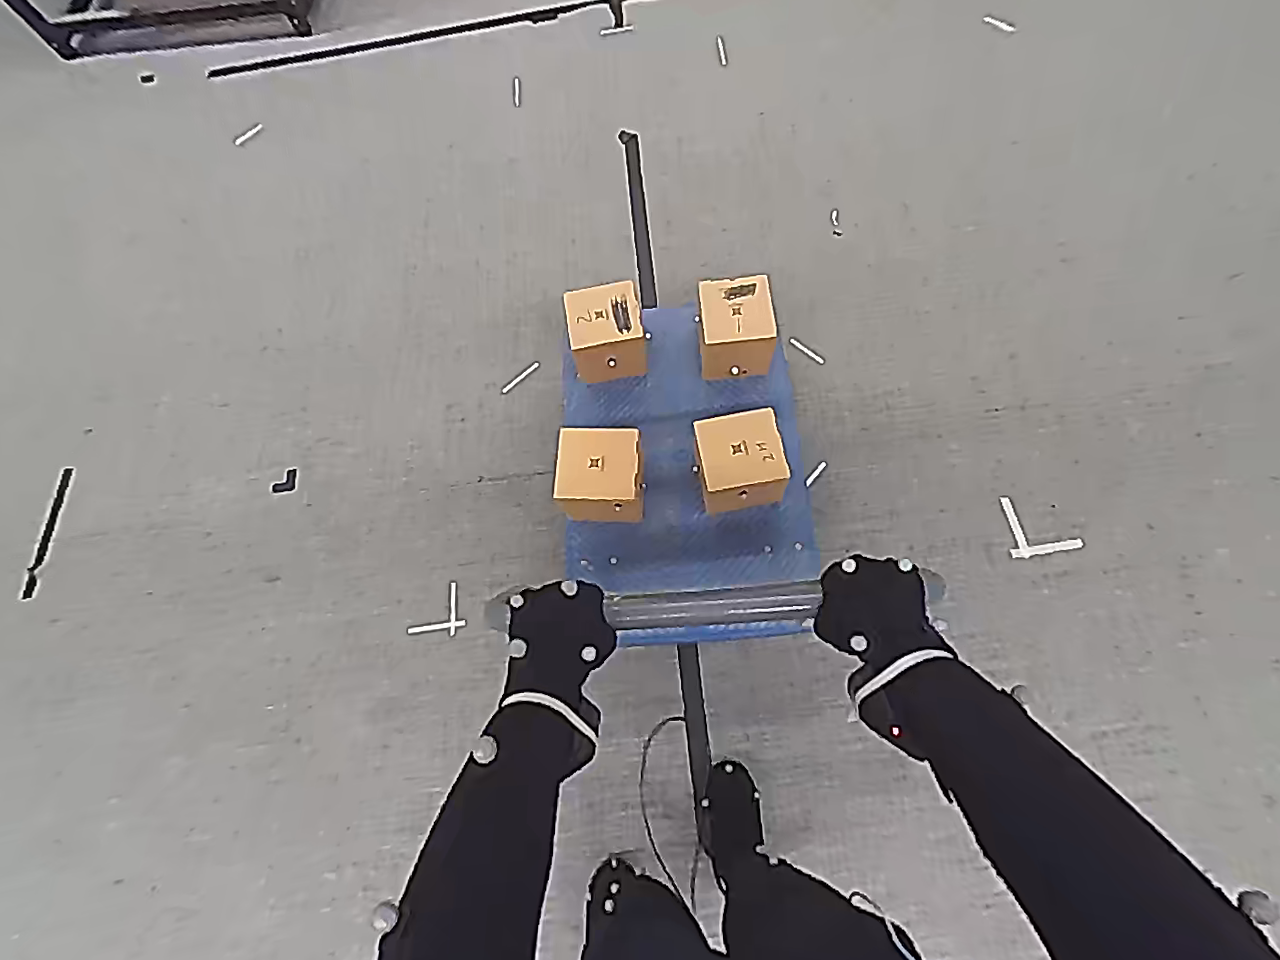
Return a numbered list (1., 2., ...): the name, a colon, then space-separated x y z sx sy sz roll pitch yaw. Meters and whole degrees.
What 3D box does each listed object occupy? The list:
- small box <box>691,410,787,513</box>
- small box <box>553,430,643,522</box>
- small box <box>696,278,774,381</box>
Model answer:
1. small box: 0.216 -0.034 1.217 0.179 0.176 0.168 -10 70 2
2. small box: -0.089 -0.005 1.236 0.179 0.176 0.168 1 70 4
3. small box: 0.226 -0.367 1.334 0.168 0.176 0.179 -5 71 4
